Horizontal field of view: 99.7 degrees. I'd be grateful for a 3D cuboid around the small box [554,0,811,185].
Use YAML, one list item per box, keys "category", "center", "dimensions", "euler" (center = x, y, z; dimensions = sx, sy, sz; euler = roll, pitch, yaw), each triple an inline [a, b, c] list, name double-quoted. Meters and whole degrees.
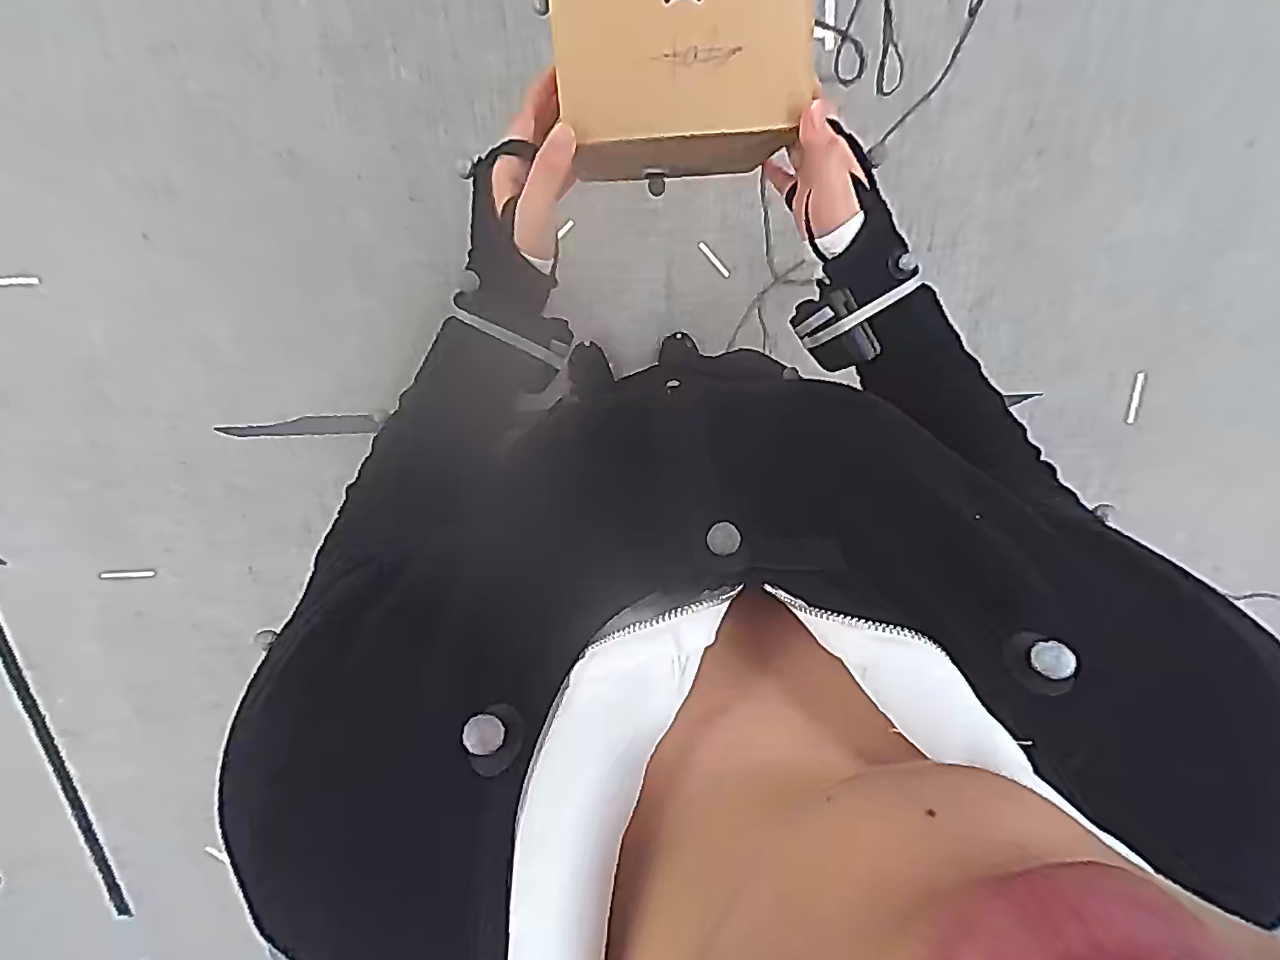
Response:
- category: "small box"
  center: [0.022, -0.340, 0.411]
  dimensions: [0.168, 0.176, 0.179]
  euler: [-4, 111, -1]
